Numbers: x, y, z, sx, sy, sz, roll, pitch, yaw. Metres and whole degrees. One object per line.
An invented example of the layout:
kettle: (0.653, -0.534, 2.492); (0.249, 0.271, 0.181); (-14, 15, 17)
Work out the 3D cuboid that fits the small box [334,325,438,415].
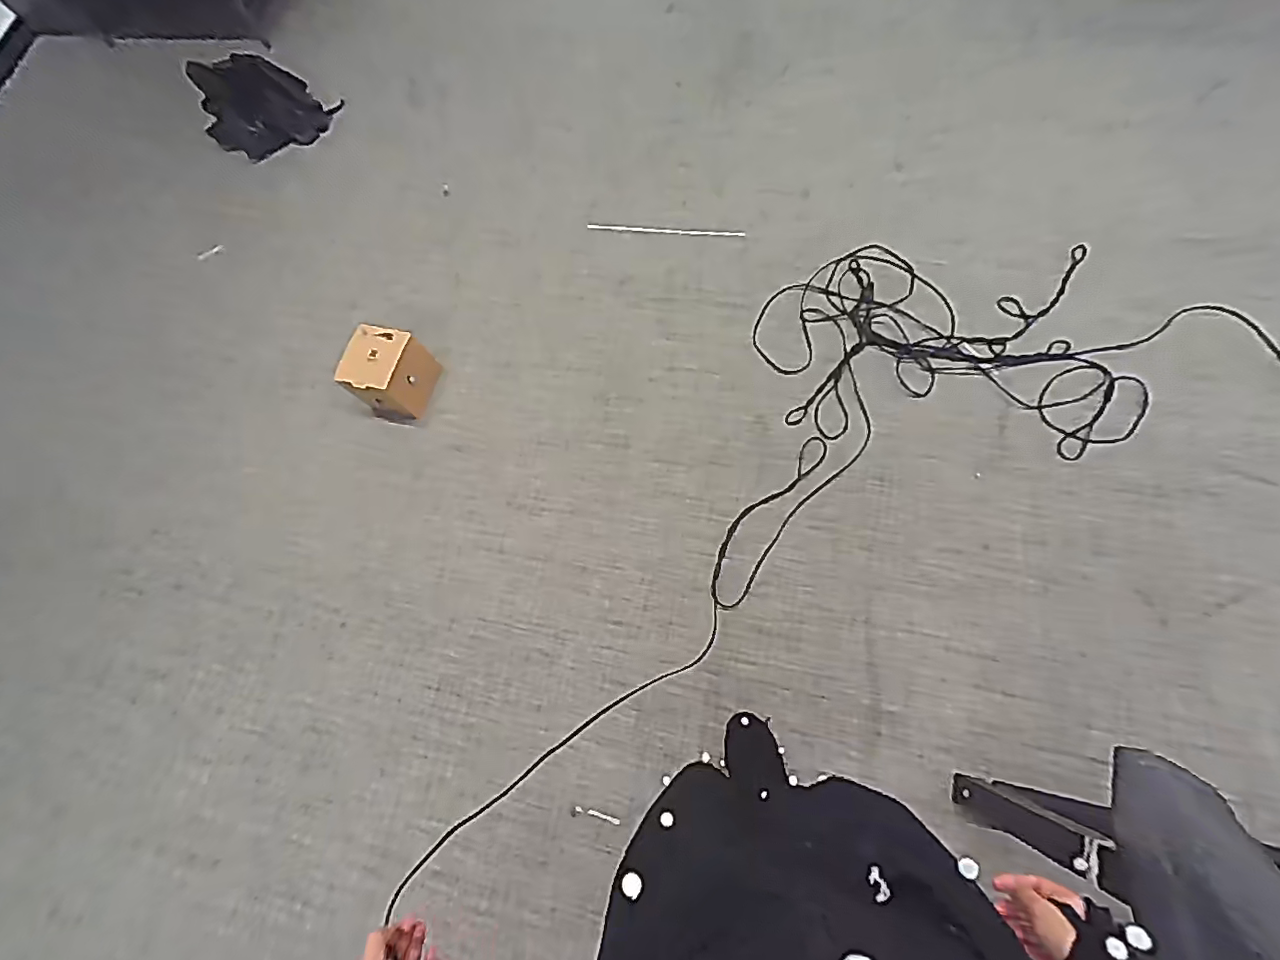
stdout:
small box: (-0.687, -0.297, 1.488); (0.168, 0.176, 0.179); (13, 75, 12)
